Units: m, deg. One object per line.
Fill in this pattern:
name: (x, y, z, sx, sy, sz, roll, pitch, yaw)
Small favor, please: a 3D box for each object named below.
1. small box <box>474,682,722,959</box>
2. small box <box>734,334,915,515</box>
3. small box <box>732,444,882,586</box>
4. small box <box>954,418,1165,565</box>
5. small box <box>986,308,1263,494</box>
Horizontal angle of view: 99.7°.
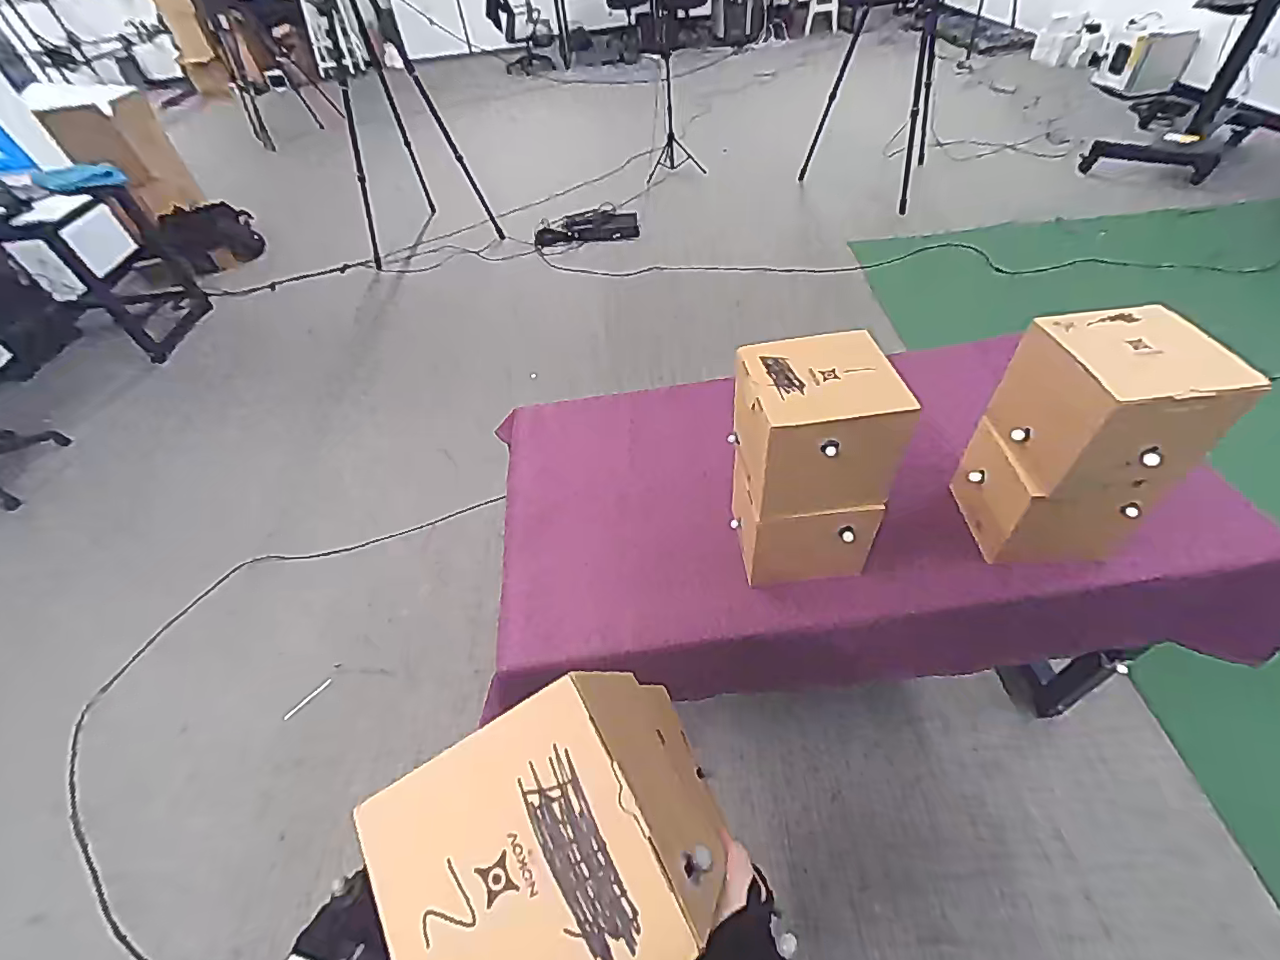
small box: (-0.032, 0.324, 0.550, 0.179, 0.176, 0.168, -29, 66, 2)
small box: (0.226, -0.068, 0.720, 0.179, 0.176, 0.168, -7, 47, 0)
small box: (0.242, 0.047, 0.836, 0.179, 0.176, 0.168, -6, 47, 2)
small box: (0.606, 0.017, 0.818, 0.179, 0.176, 0.168, -3, 47, 4)
small box: (0.593, -0.094, 0.697, 0.168, 0.176, 0.179, -5, 48, 2)
